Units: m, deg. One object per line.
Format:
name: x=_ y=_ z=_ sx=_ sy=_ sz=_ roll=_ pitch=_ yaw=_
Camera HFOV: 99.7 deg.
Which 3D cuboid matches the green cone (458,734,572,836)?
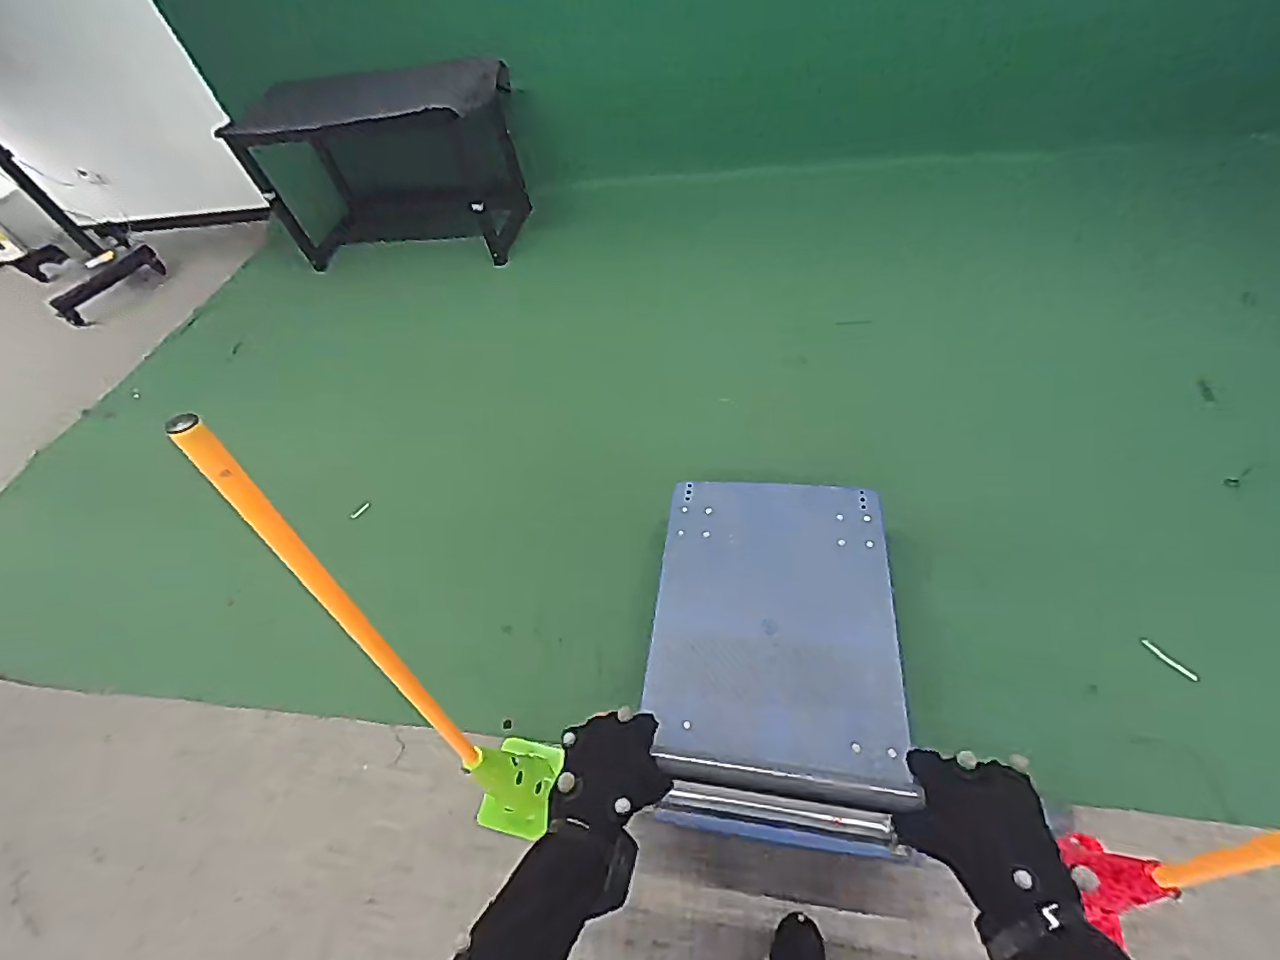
green cone: x=-0.308 y=0.642 z=1.205 sx=0.202 sy=0.368 sz=0.200 roll=5 pitch=53 yaw=15
